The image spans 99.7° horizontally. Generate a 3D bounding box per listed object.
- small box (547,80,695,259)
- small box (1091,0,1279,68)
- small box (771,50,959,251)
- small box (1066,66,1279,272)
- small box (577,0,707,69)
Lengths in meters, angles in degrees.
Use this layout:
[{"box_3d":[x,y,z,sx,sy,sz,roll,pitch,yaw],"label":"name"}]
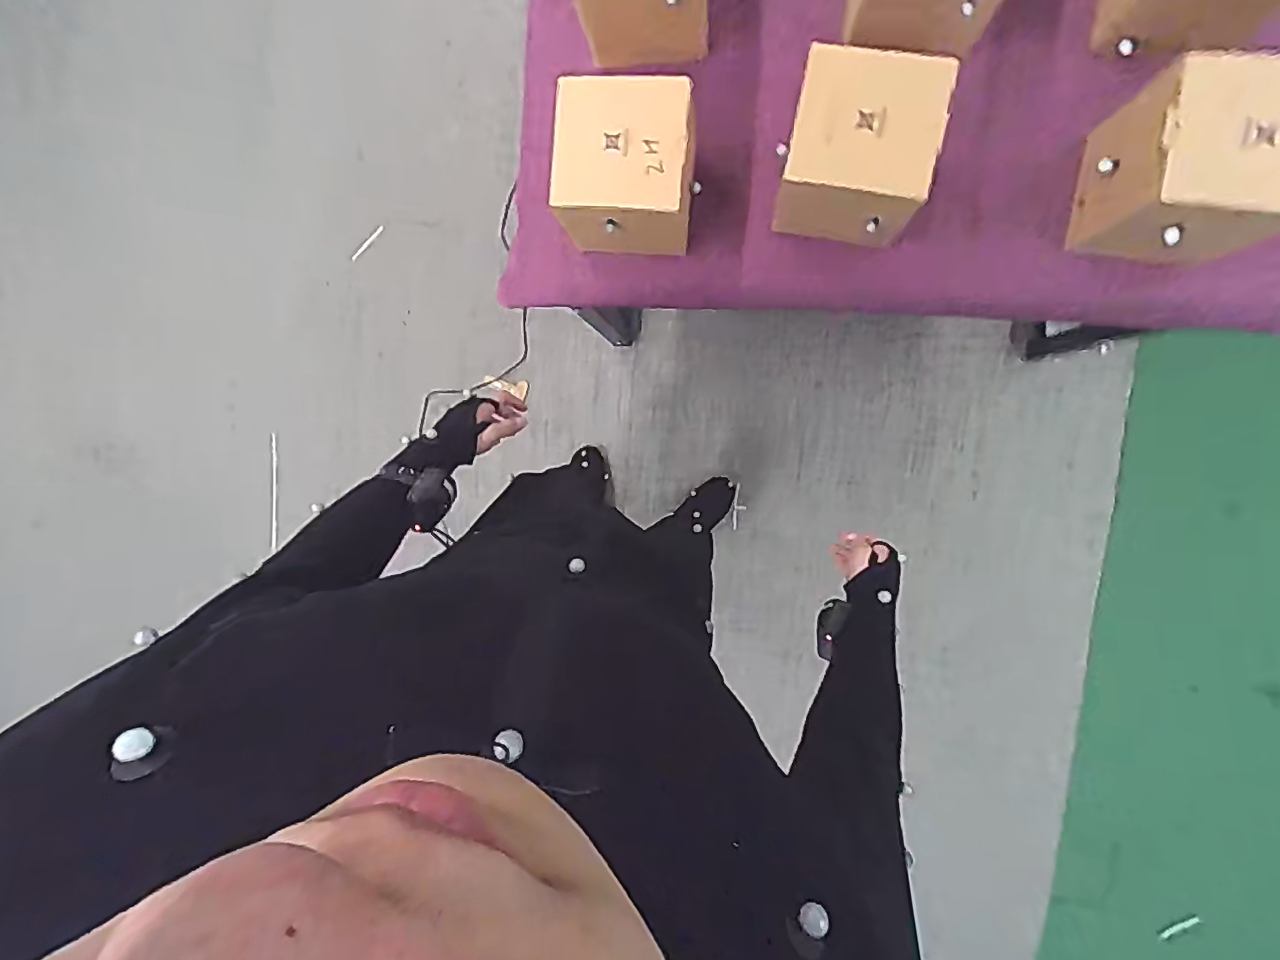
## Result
[{"box_3d":[-0.018,-0.430,0.774,0.179,0.176,0.168,7,94,7],"label":"small box"},{"box_3d":[0.709,-0.648,0.663,0.168,0.176,0.179,11,95,7],"label":"small box"},{"box_3d":[0.289,-0.431,0.737,0.179,0.176,0.168,13,95,8],"label":"small box"},{"box_3d":[0.692,-0.378,0.684,0.179,0.176,0.168,10,95,8],"label":"small box"},{"box_3d":[0.004,-0.713,0.754,0.179,0.176,0.168,1,95,7],"label":"small box"}]
